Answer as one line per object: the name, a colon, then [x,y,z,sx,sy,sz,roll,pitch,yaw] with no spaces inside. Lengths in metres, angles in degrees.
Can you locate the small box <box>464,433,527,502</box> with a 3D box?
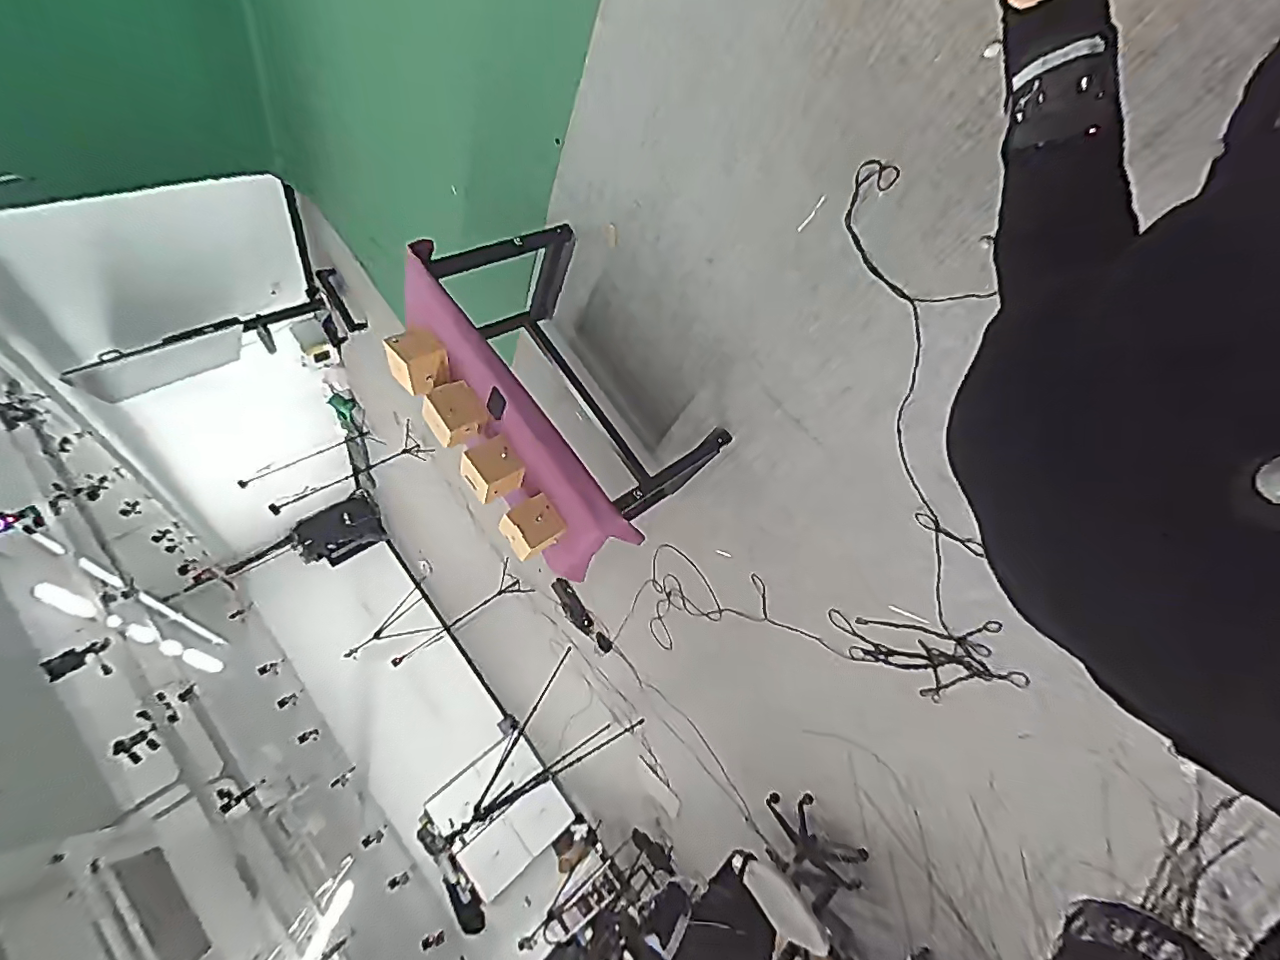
small box: [-0.549,-0.050,2.057,0.168,0.176,0.179,51,147,10]

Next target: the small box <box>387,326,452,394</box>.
small box: [-0.847,-0.472,2.100,0.179,0.176,0.168,42,146,24]

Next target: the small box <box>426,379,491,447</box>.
small box: [-0.698,-0.262,2.078,0.179,0.176,0.168,56,148,4]

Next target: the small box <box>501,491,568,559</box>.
small box: [-0.391,0.165,2.026,0.168,0.176,0.179,55,148,6]
